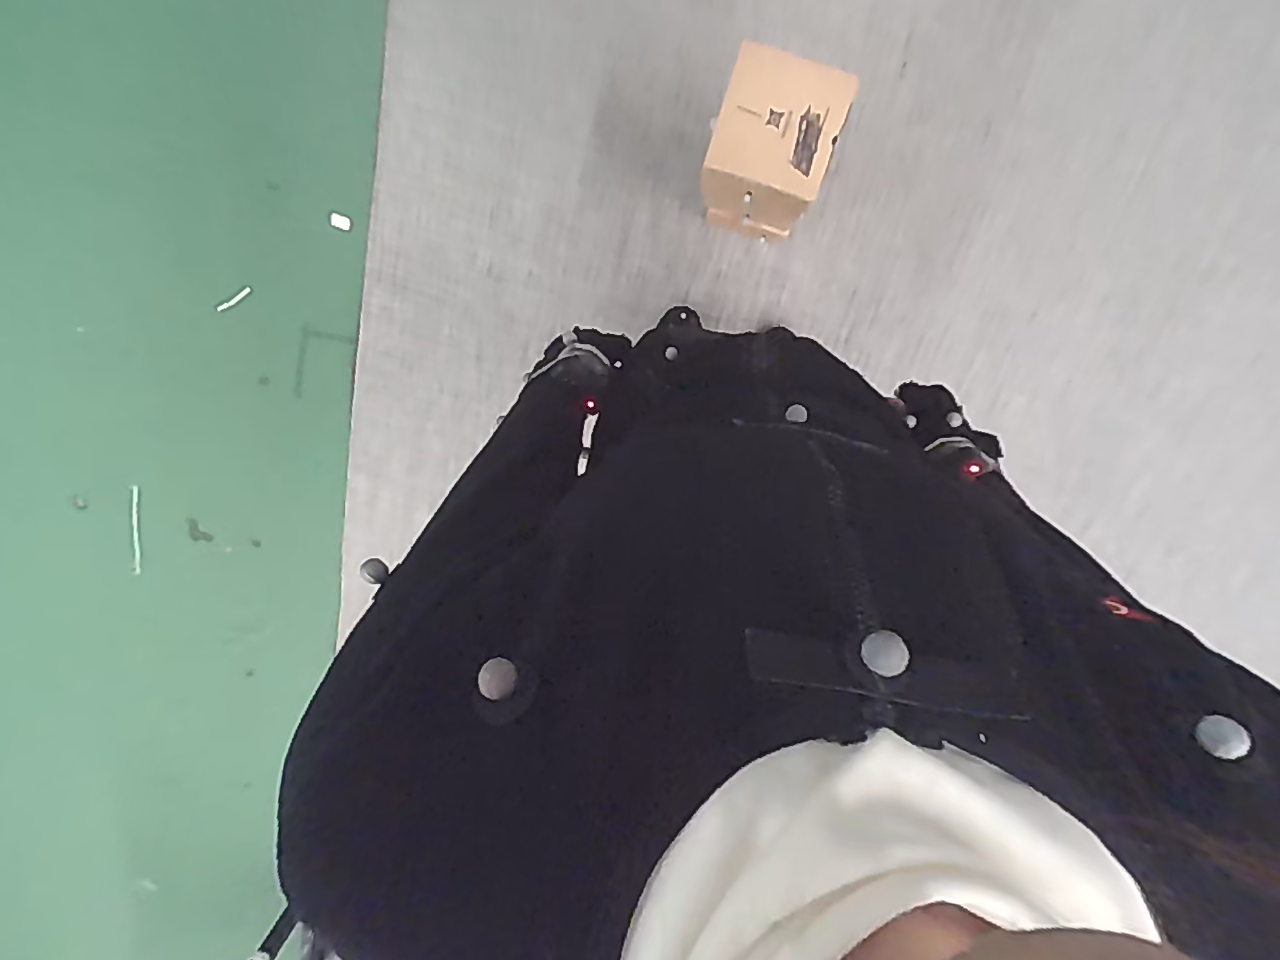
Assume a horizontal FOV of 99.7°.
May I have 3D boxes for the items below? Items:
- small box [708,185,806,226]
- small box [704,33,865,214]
[{"bbox_3d":[0.236,-0.586,1.001,0.179,0.176,0.168,19,109,0],"label":"small box"},{"bbox_3d":[0.210,-0.535,0.843,0.179,0.176,0.168,22,107,-1],"label":"small box"}]
